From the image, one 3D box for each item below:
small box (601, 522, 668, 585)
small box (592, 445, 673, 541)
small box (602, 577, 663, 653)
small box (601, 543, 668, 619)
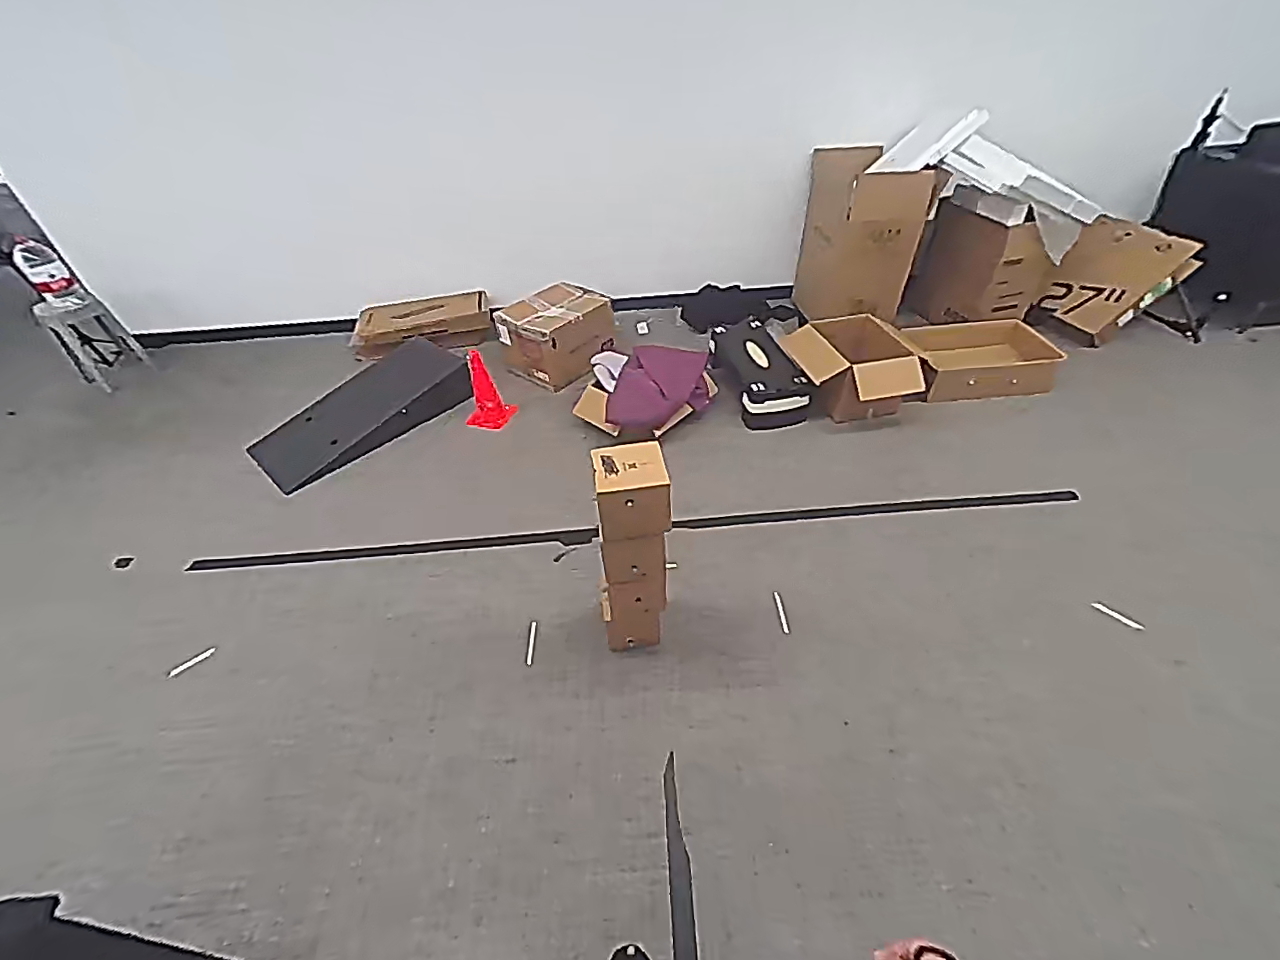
[{"bbox_3d":[-0.017,0.160,1.462,0.168,0.176,0.179,-7,42,-1],"label":"small box"},{"bbox_3d":[-0.018,0.036,1.354,0.179,0.176,0.168,-8,42,-4],"label":"small box"},{"bbox_3d":[-0.023,0.409,1.679,0.168,0.176,0.179,-9,43,-4],"label":"small box"},{"bbox_3d":[-0.015,0.286,1.569,0.168,0.176,0.179,-9,42,-5],"label":"small box"}]
